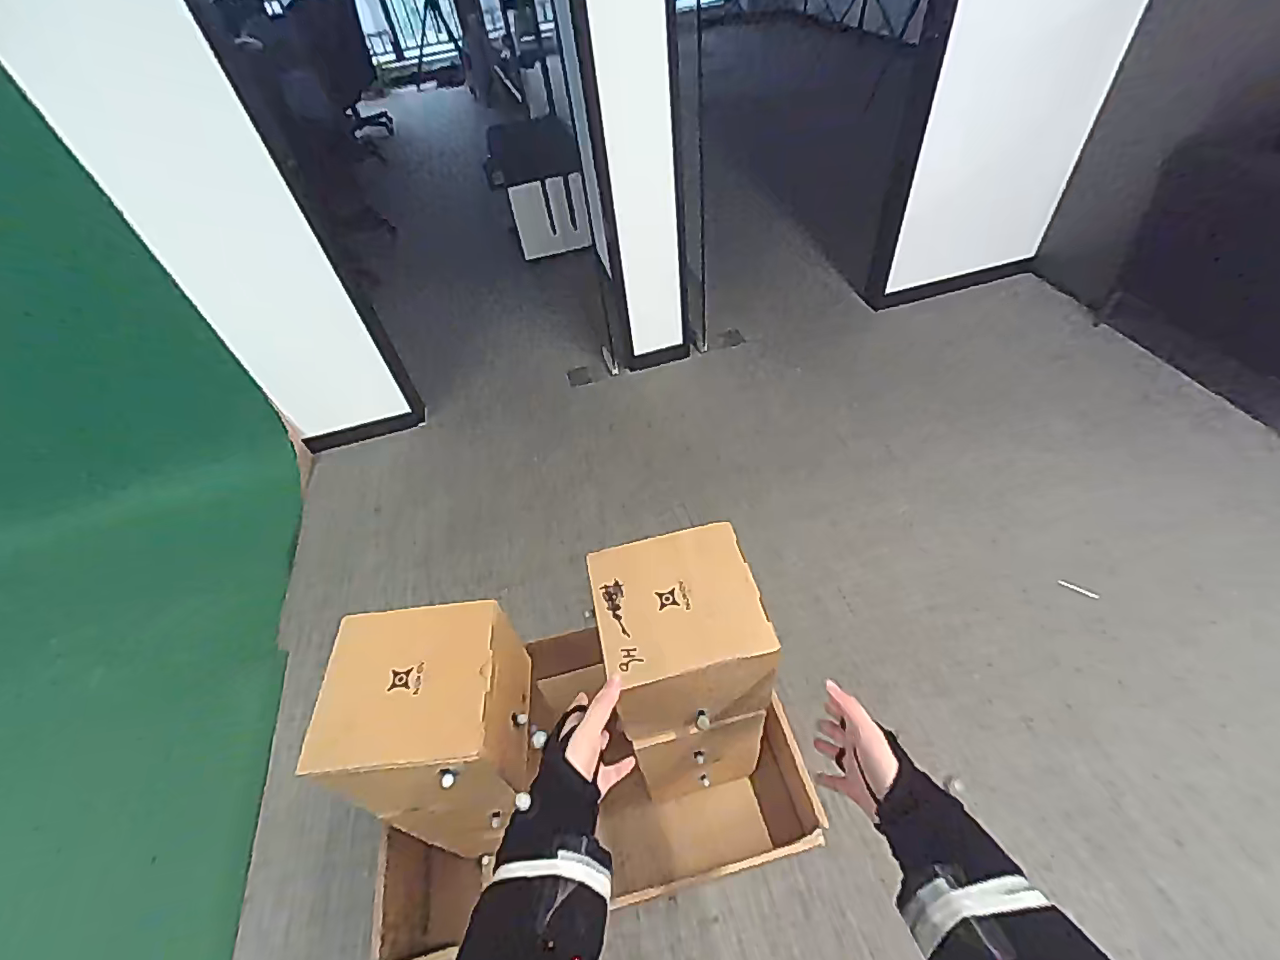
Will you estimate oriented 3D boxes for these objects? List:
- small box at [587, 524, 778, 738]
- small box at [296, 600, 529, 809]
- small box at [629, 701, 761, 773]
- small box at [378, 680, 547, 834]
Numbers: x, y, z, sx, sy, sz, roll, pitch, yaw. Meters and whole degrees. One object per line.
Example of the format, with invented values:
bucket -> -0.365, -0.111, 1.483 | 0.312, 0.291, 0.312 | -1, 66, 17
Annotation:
small box -> 0.044, 0.180, 0.635 | 0.179, 0.176, 0.168 | -12, 48, -3
small box -> -0.235, 0.258, 0.614 | 0.179, 0.176, 0.168 | -6, 48, 0
small box -> 0.060, 0.290, 0.757 | 0.168, 0.176, 0.179 | -13, 48, -4
small box -> -0.225, 0.363, 0.737 | 0.168, 0.176, 0.179 | -9, 47, -1
